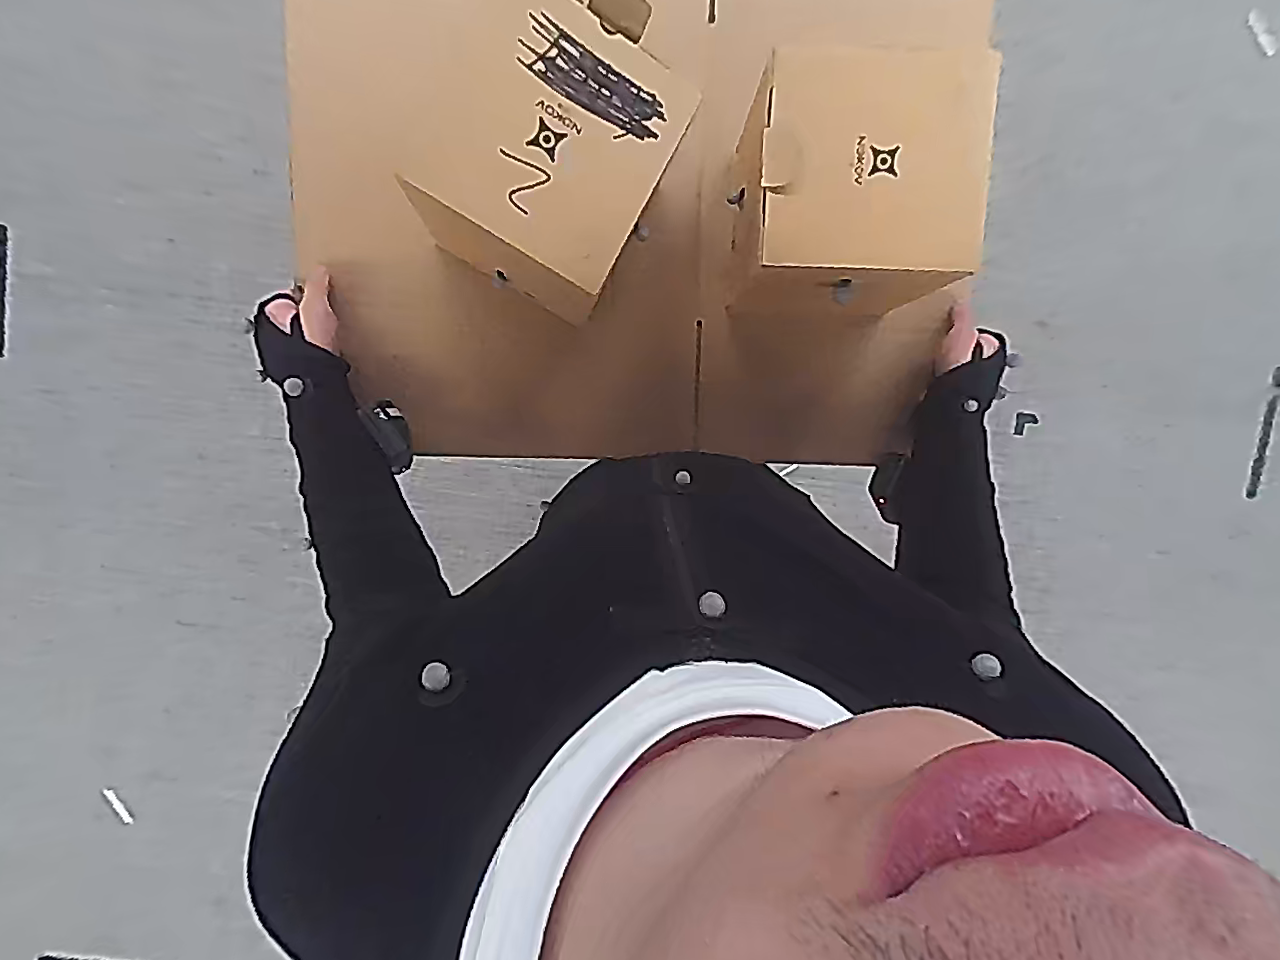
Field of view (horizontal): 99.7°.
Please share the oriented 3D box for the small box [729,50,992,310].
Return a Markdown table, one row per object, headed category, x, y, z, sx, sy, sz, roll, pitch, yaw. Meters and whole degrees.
| category | x | y | z | sx | sy | sz | roll | pitch | yaw |
| --- | --- | --- | --- | --- | --- | --- | --- | --- | --- |
| small box | 0.189 | -0.263 | 0.514 | 0.179 | 0.176 | 0.168 | 2 | 96 | 0 |
